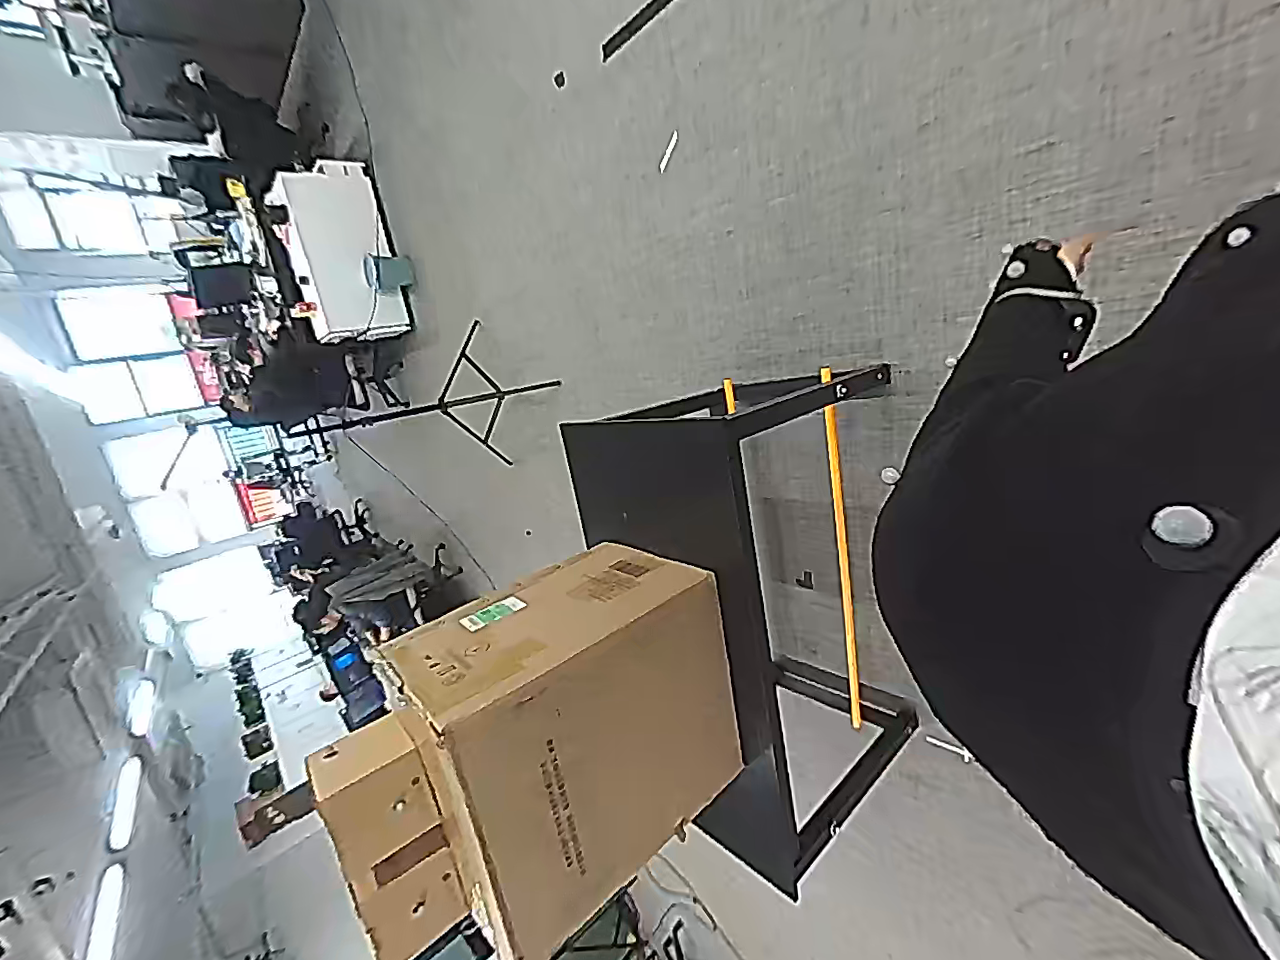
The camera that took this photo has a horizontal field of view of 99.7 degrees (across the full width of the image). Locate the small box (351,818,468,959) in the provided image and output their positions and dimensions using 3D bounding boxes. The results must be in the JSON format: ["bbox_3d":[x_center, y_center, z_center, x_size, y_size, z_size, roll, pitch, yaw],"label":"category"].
[{"bbox_3d":[-0.461,0.797,1.081,0.179,0.176,0.168,0,106,52],"label":"small box"}]

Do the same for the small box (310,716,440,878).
[{"bbox_3d":[-0.498,0.581,1.022,0.179,0.176,0.168,4,110,53],"label":"small box"}]
